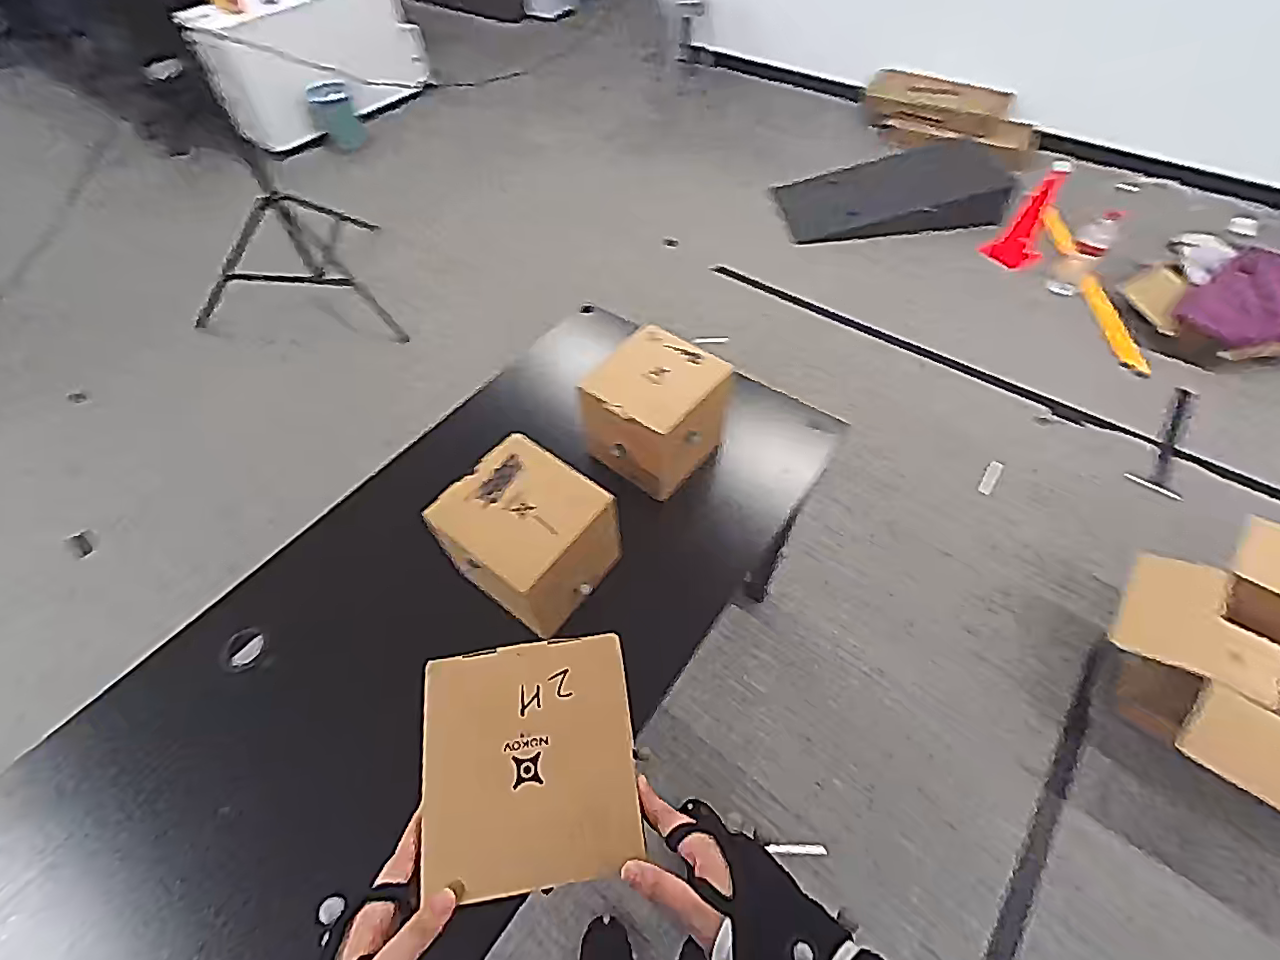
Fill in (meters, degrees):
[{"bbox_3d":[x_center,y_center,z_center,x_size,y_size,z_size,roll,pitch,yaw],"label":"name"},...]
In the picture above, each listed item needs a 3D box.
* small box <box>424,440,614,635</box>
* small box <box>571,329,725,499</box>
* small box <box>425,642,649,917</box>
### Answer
[{"bbox_3d":[-0.154,0.084,0.744,0.179,0.176,0.168,31,62,21],"label":"small box"},{"bbox_3d":[0.018,-0.102,0.868,0.168,0.176,0.179,33,63,23],"label":"small box"},{"bbox_3d":[-0.082,0.261,0.496,0.168,0.176,0.179,-7,62,-3],"label":"small box"}]
